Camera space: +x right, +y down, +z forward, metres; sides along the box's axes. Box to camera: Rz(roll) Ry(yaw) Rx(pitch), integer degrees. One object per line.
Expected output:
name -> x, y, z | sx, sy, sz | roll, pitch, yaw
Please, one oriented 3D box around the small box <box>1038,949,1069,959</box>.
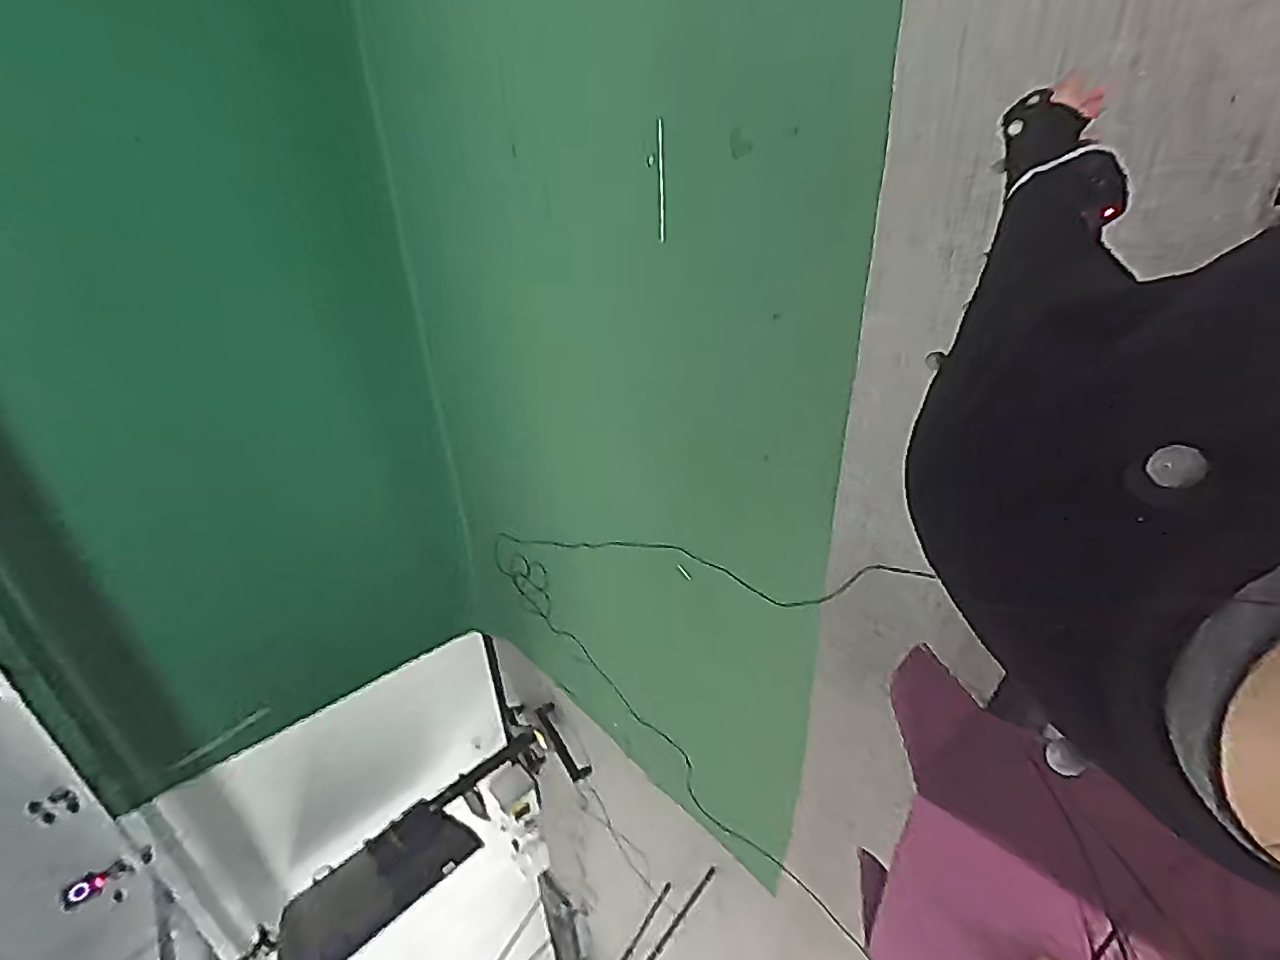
small box -> 0.696, 0.911, 0.848 | 0.179, 0.176, 0.168 | 25, 127, 42
